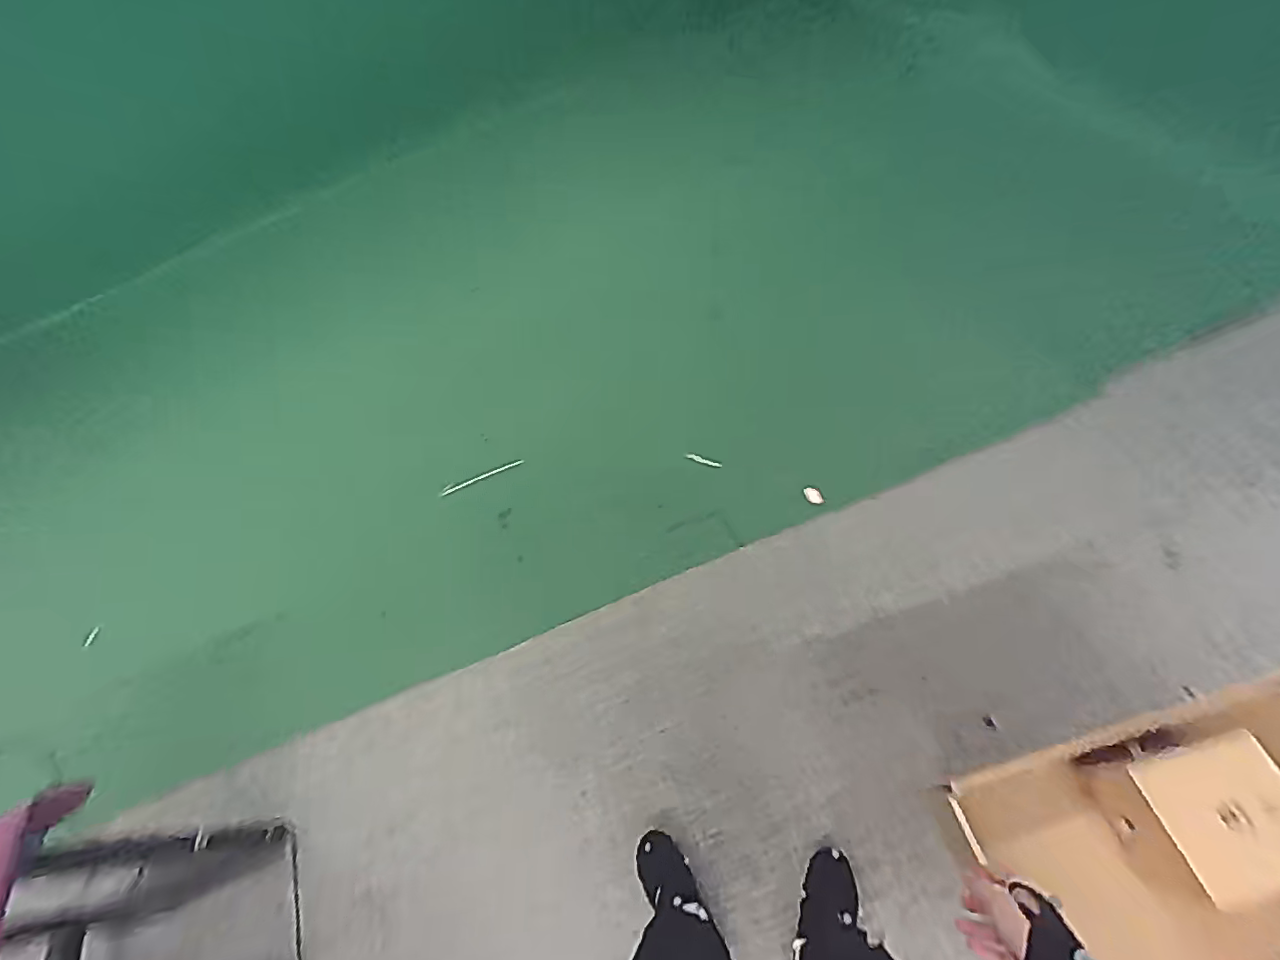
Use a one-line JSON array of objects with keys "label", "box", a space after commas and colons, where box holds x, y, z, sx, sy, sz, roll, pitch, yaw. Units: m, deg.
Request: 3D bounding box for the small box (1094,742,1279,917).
[{"label": "small box", "box": [0.802, 0.486, 0.768, 0.179, 0.176, 0.168, -18, 60, 4]}]
